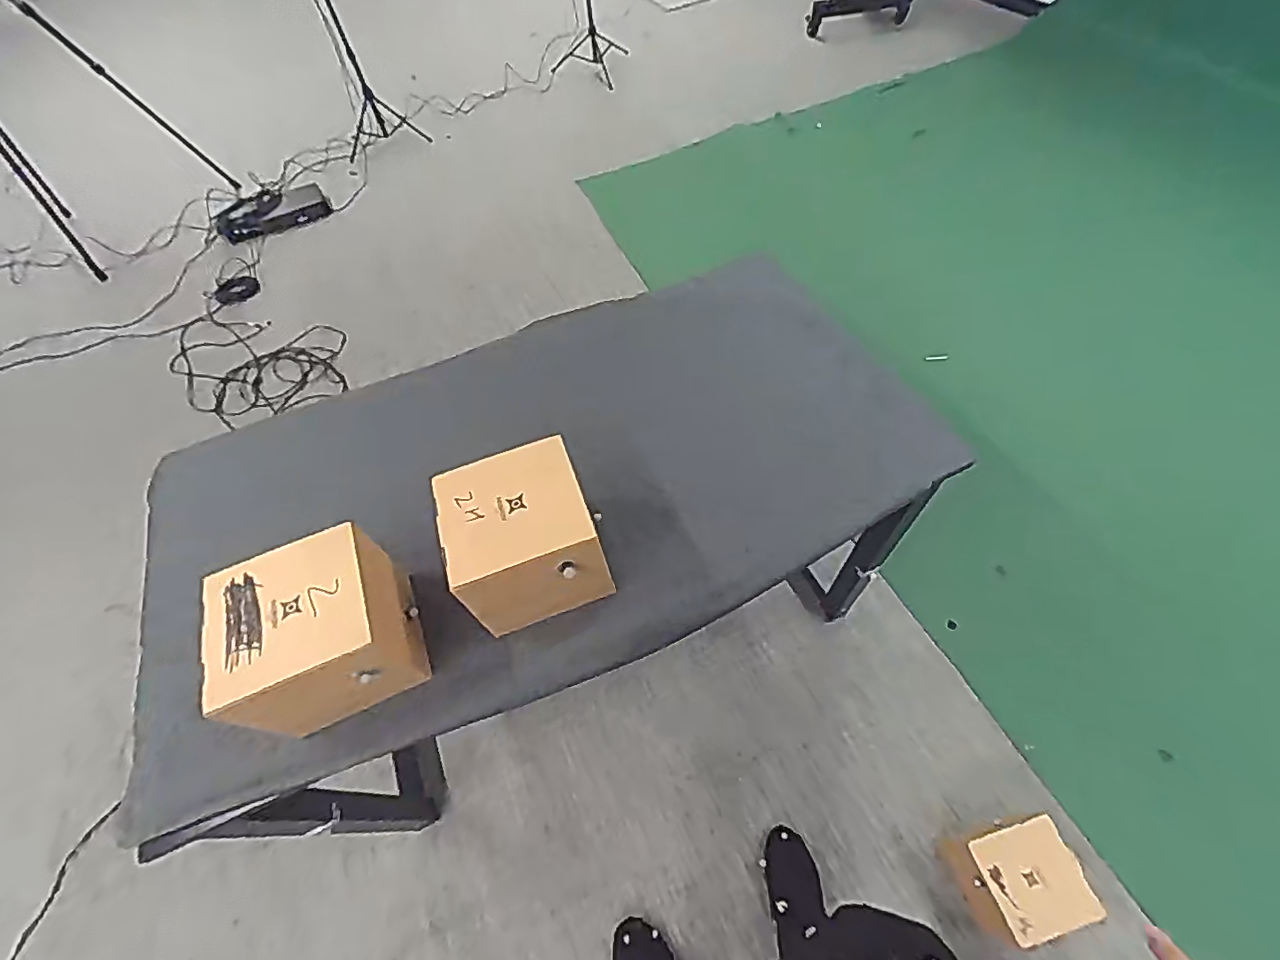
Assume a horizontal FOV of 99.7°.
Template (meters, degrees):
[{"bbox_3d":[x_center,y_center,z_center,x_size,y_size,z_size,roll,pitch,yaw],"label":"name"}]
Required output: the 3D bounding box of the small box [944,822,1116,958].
[{"bbox_3d":[0.739,0.780,1.049,0.179,0.176,0.168,-16,58,-4],"label":"small box"}]

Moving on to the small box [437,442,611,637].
[{"bbox_3d":[-0.144,0.083,0.716,0.179,0.176,0.168,-20,56,-6],"label":"small box"}]
